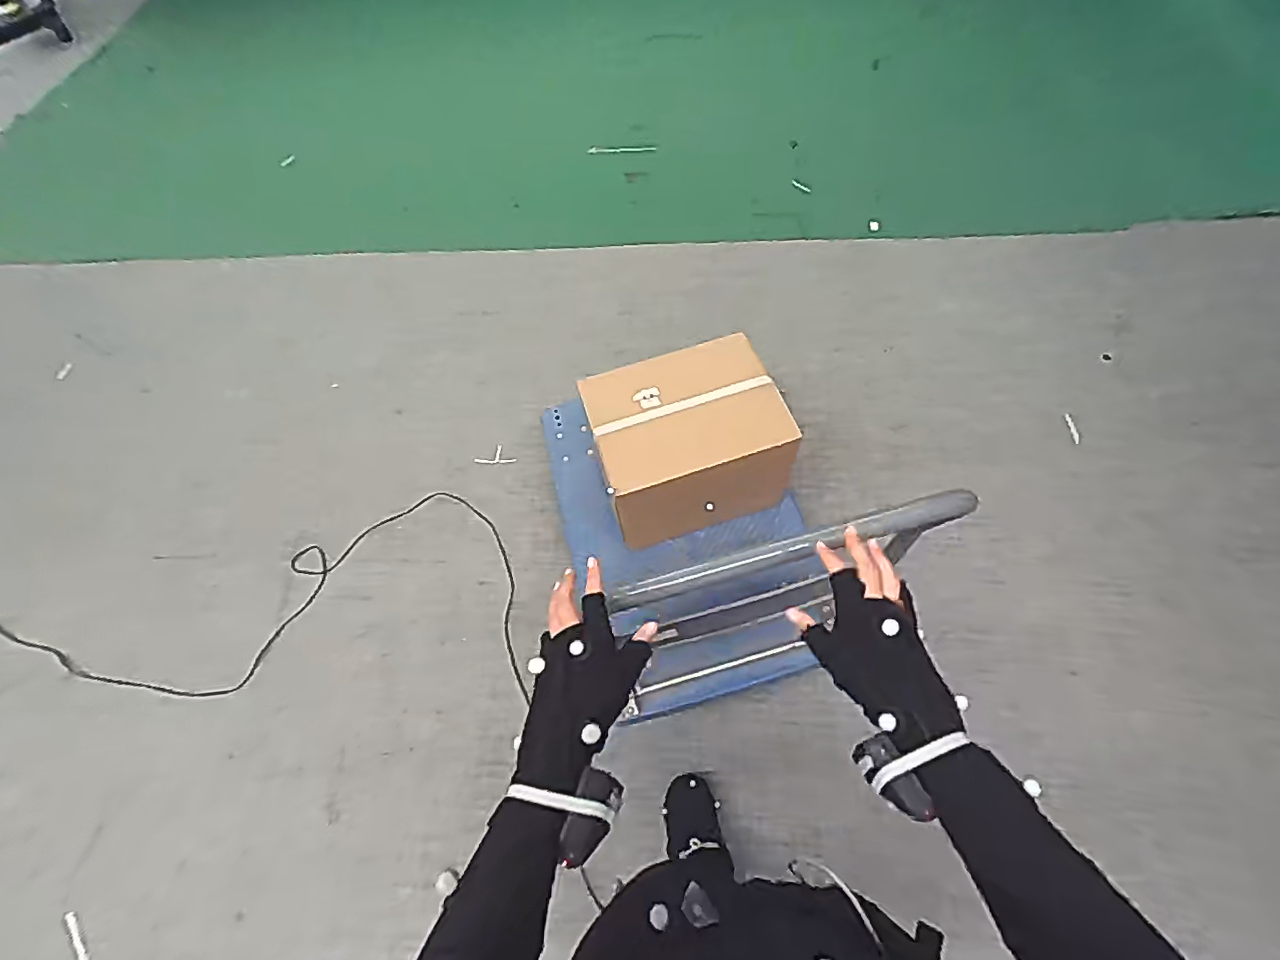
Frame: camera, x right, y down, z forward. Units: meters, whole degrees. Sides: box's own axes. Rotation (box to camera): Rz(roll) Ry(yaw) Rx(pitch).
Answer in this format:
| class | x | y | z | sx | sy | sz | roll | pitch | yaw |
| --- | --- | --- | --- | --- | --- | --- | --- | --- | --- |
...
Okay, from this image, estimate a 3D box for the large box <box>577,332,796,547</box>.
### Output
| class | x | y | z | sx | sy | sz | roll | pitch | yaw |
| --- | --- | --- | --- | --- | --- | --- | --- | --- | --- |
| large box | 0.104 | -0.085 | 1.293 | 0.408 | 0.320 | 0.320 | -19 | 61 | -4 |
